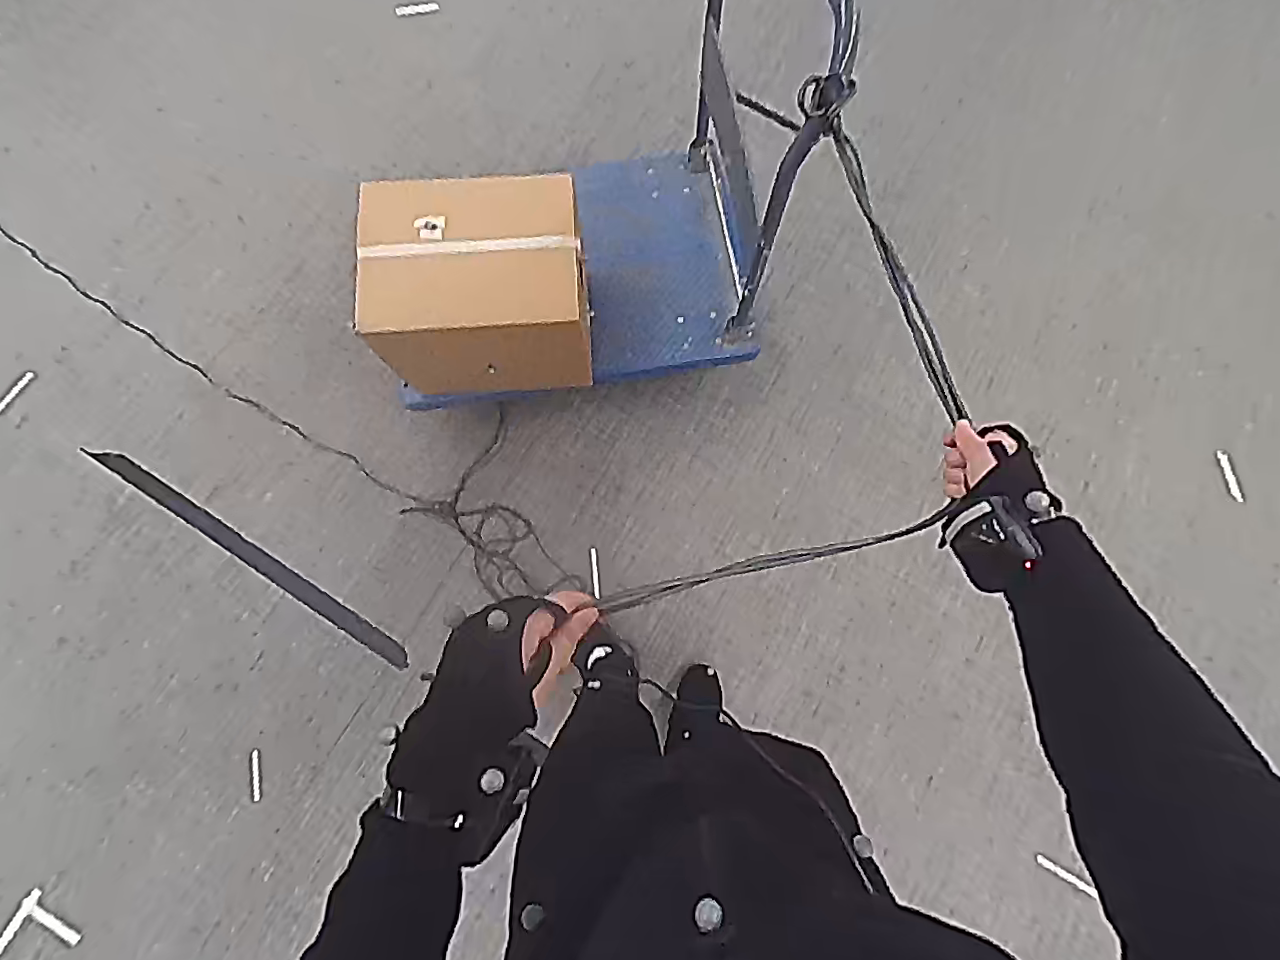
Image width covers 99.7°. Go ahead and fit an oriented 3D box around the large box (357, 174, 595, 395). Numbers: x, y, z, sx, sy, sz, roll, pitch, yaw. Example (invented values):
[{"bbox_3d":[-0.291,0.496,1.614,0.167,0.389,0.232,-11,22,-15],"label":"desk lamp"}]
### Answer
[{"bbox_3d":[-0.316,-0.387,1.138,0.408,0.320,0.320,-4,77,-1],"label":"large box"}]
